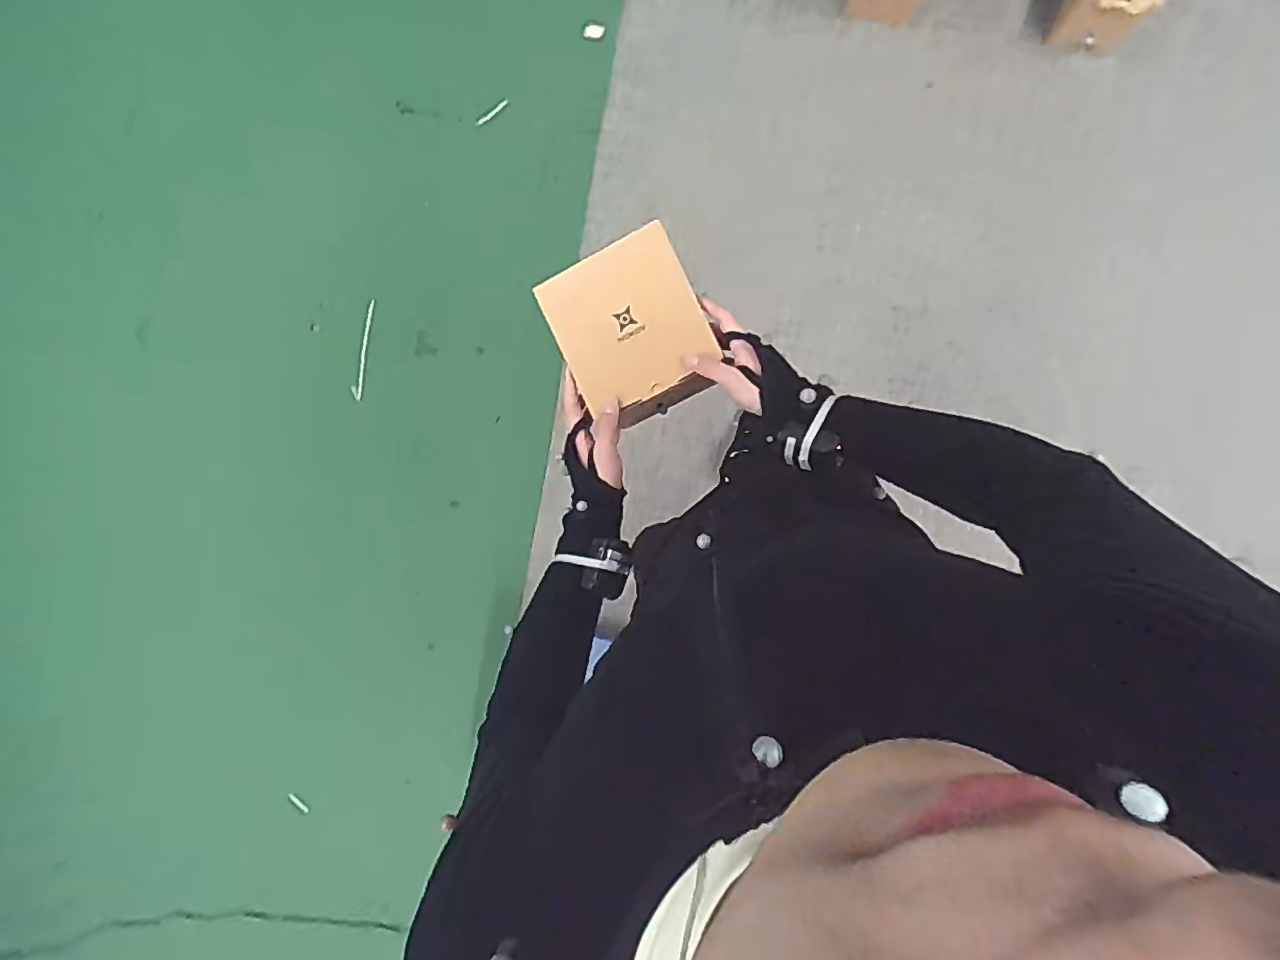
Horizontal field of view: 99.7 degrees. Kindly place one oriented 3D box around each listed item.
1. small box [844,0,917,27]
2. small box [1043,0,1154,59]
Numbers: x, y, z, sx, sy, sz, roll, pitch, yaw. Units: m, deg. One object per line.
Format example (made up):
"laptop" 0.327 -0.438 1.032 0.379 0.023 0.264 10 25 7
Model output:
"small box" 0.640 -1.302 1.371 0.179 0.176 0.168 17 98 6
"small box" 1.134 -1.187 1.312 0.168 0.176 0.179 23 99 7
